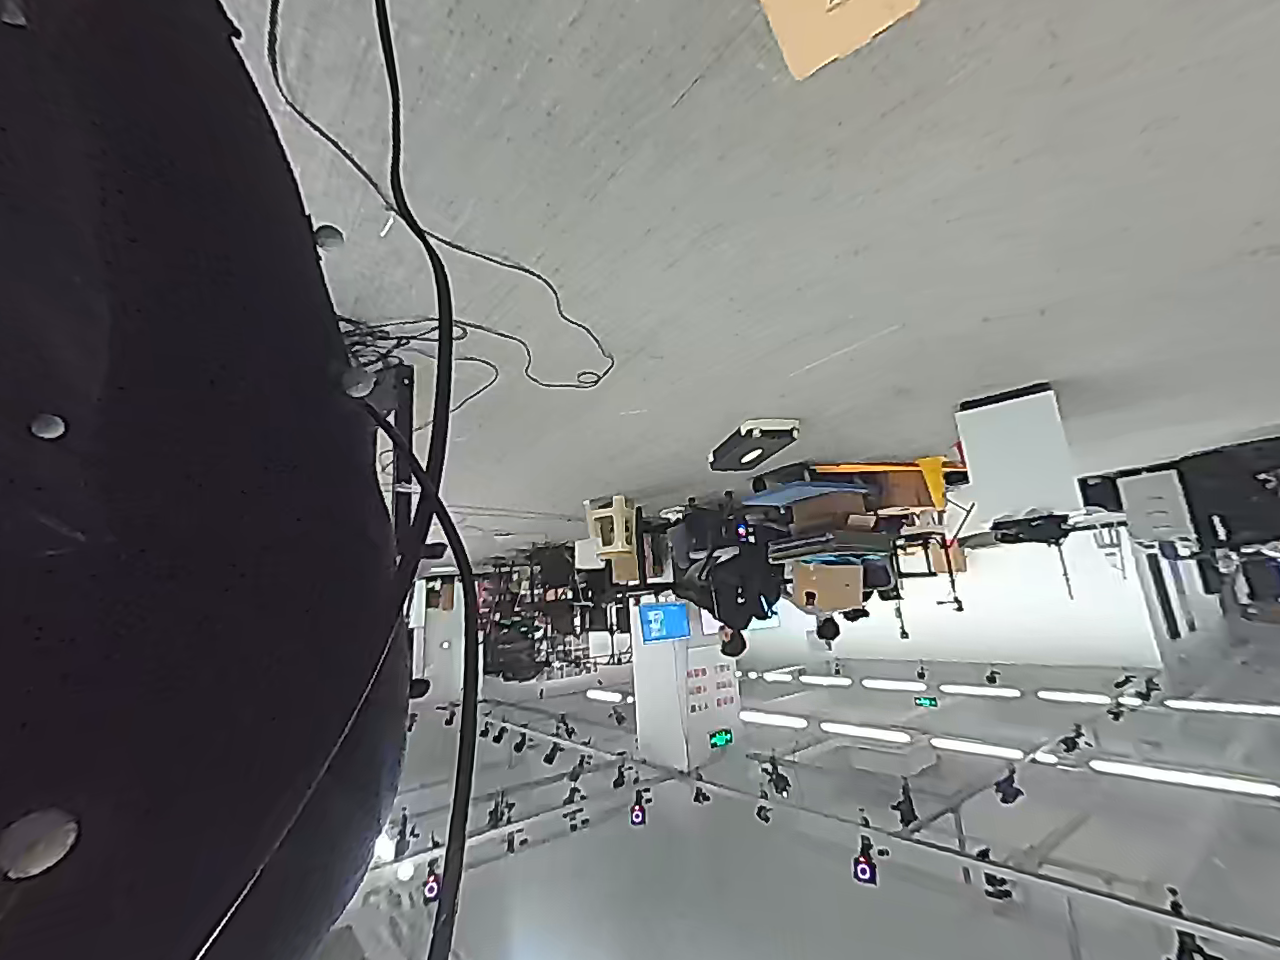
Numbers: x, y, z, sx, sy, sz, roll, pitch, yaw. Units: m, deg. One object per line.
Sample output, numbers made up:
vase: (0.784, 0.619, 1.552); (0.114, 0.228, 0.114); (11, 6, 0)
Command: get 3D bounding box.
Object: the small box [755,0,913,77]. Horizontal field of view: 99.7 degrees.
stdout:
small box: (0.226, -0.675, 0.673); (0.168, 0.176, 0.179); (-14, 163, 32)
